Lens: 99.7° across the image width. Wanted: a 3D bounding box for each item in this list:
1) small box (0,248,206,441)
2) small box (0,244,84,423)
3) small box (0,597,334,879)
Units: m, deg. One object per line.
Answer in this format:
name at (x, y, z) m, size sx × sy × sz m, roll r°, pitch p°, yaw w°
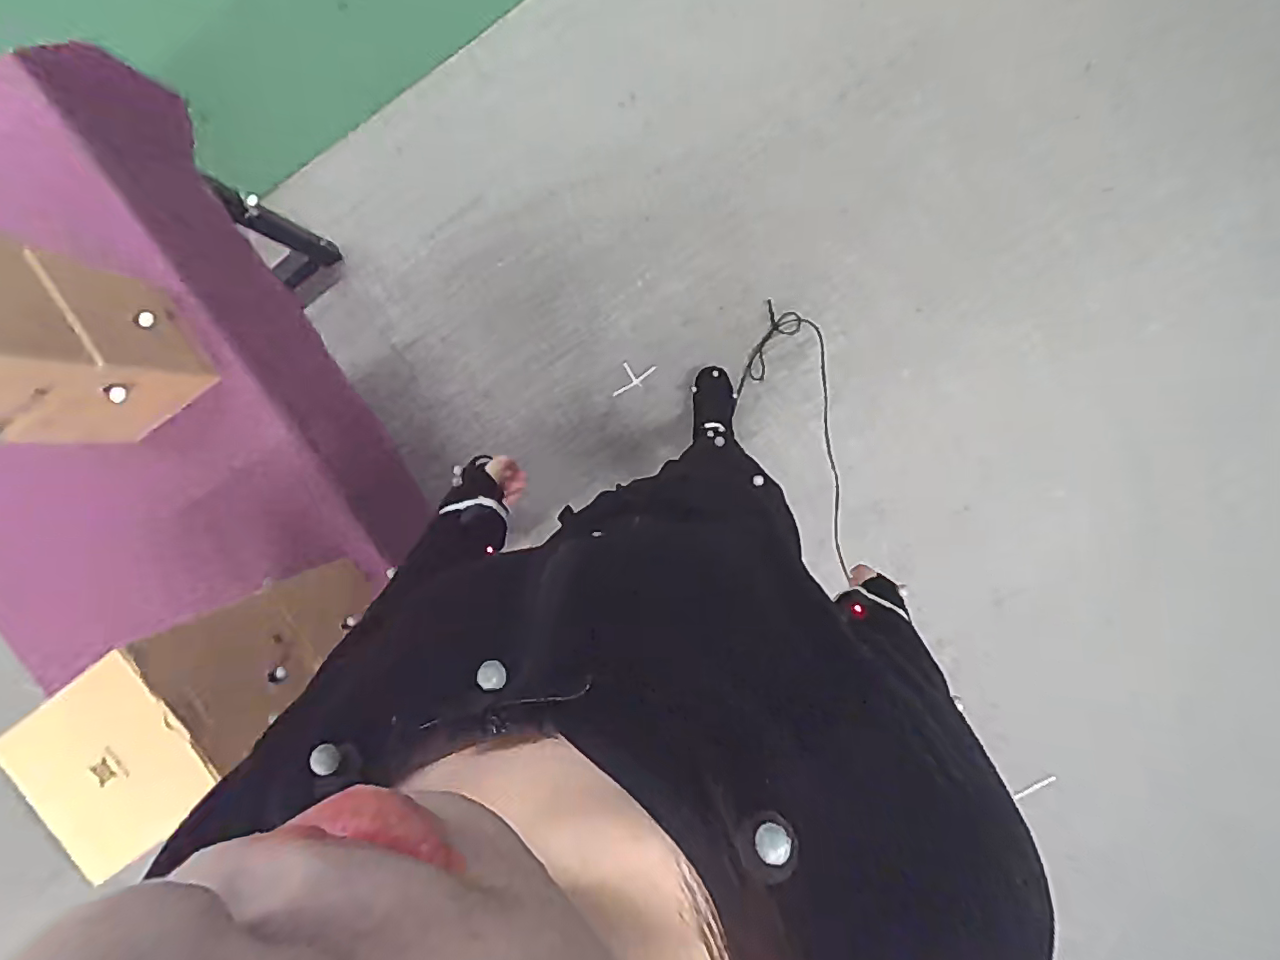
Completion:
small box at (-0.736, -0.168, 0.721) m, size 0.179 × 0.176 × 0.168 m, roll -32°, pitch 91°, yaw 6°
small box at (-0.755, -0.159, 0.558) m, size 0.168 × 0.176 × 0.179 m, roll -32°, pitch 91°, yaw 6°
small box at (-0.477, 0.254, 0.573) m, size 0.179 × 0.176 × 0.168 m, roll -35°, pitch 92°, yaw 6°
